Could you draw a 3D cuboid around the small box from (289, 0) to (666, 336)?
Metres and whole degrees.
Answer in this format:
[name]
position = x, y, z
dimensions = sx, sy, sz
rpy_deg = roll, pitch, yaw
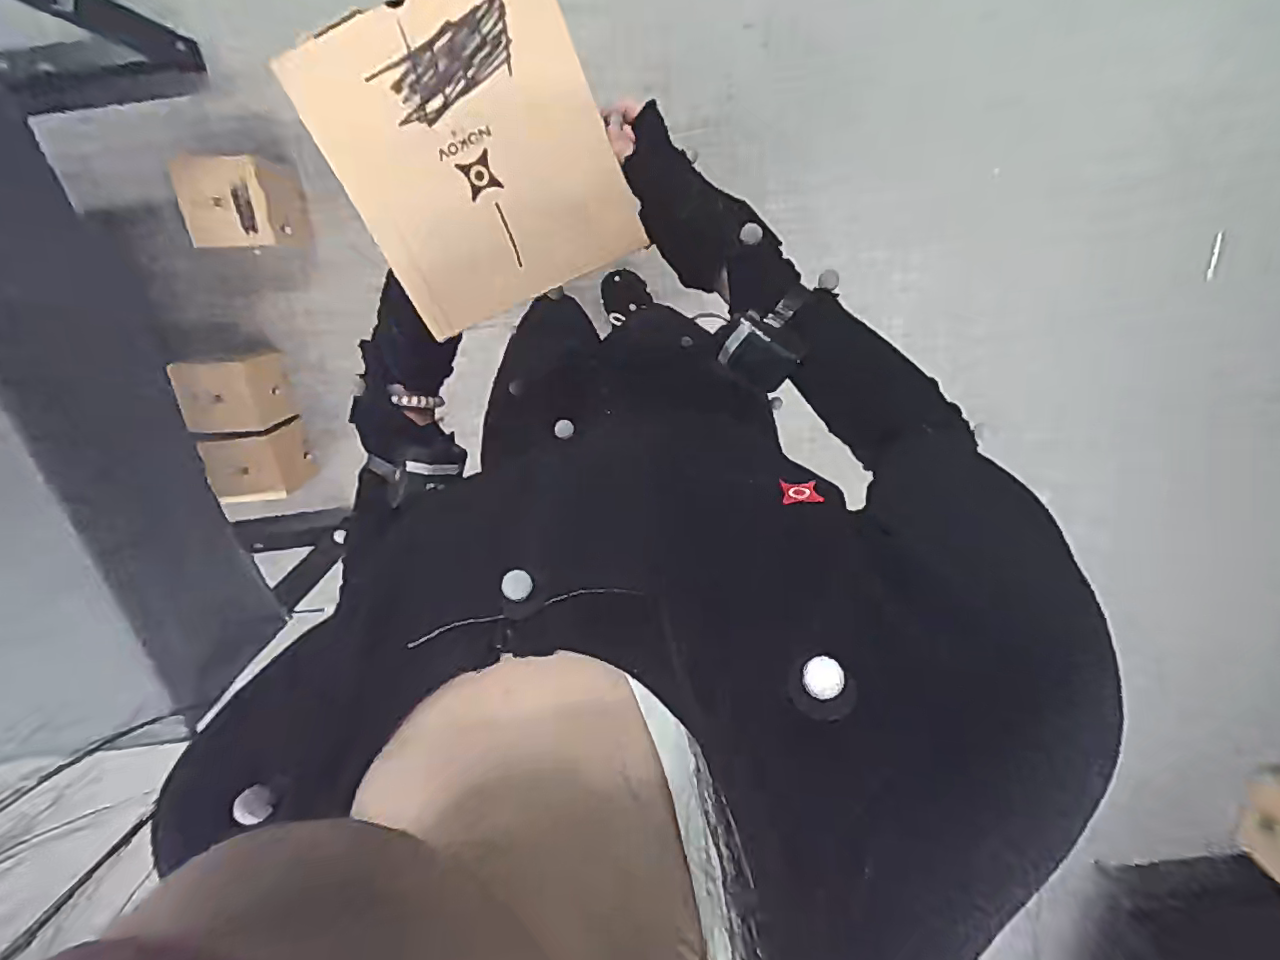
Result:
[small box]
position = -0.093, -0.230, 0.393
dimensions = 0.168, 0.176, 0.179
rpy_deg = -20, 116, 7
